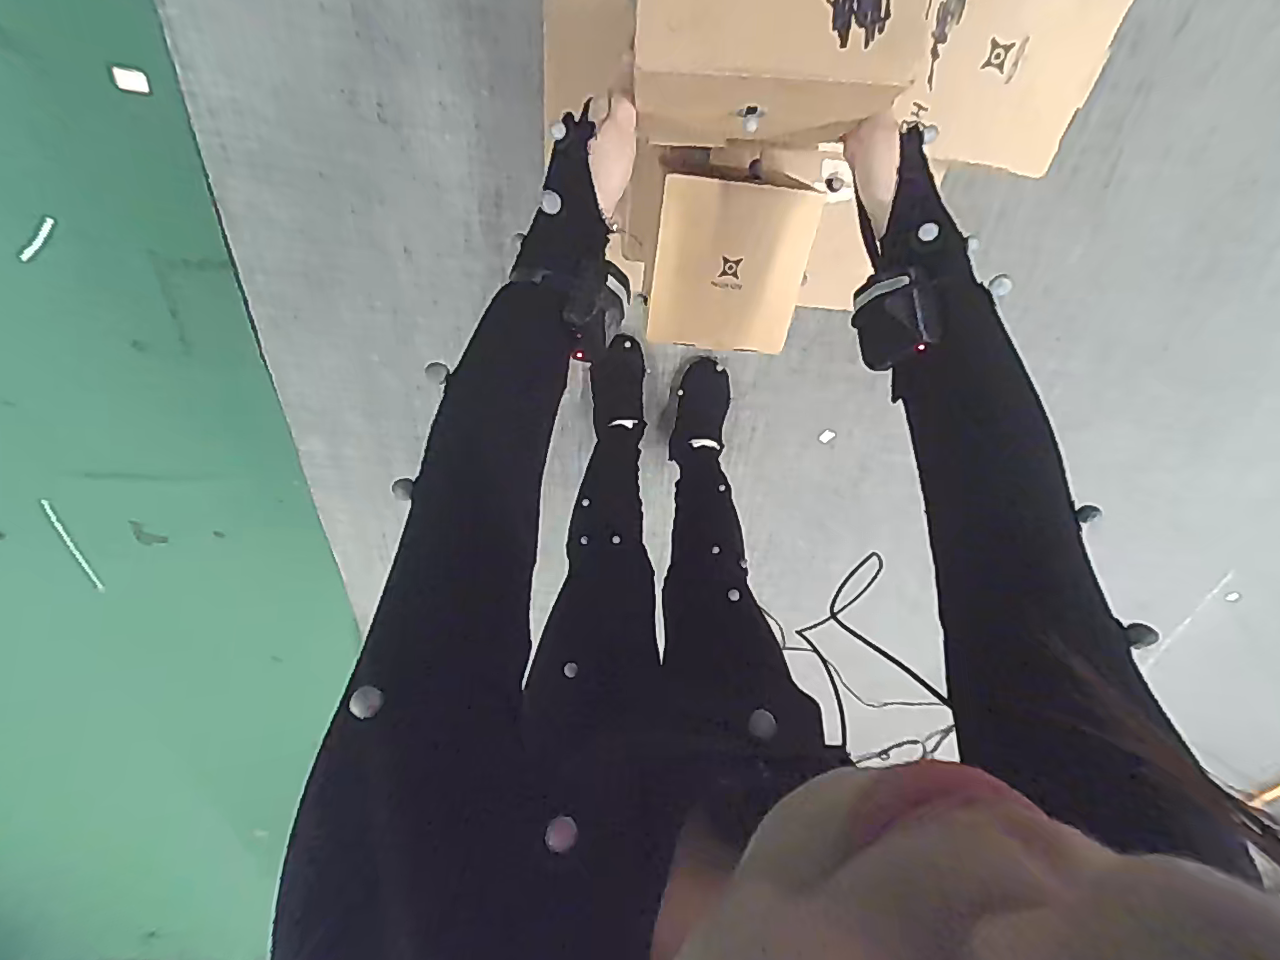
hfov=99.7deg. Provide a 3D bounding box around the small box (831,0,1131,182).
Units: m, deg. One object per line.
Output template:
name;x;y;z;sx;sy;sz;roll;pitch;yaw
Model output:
small box;0.323;-0.419;0.550;0.179;0.176;0.168;8;124;-5

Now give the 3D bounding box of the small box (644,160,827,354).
small box;0.095;-0.270;0.646;0.168;0.176;0.179;4;126;-5
